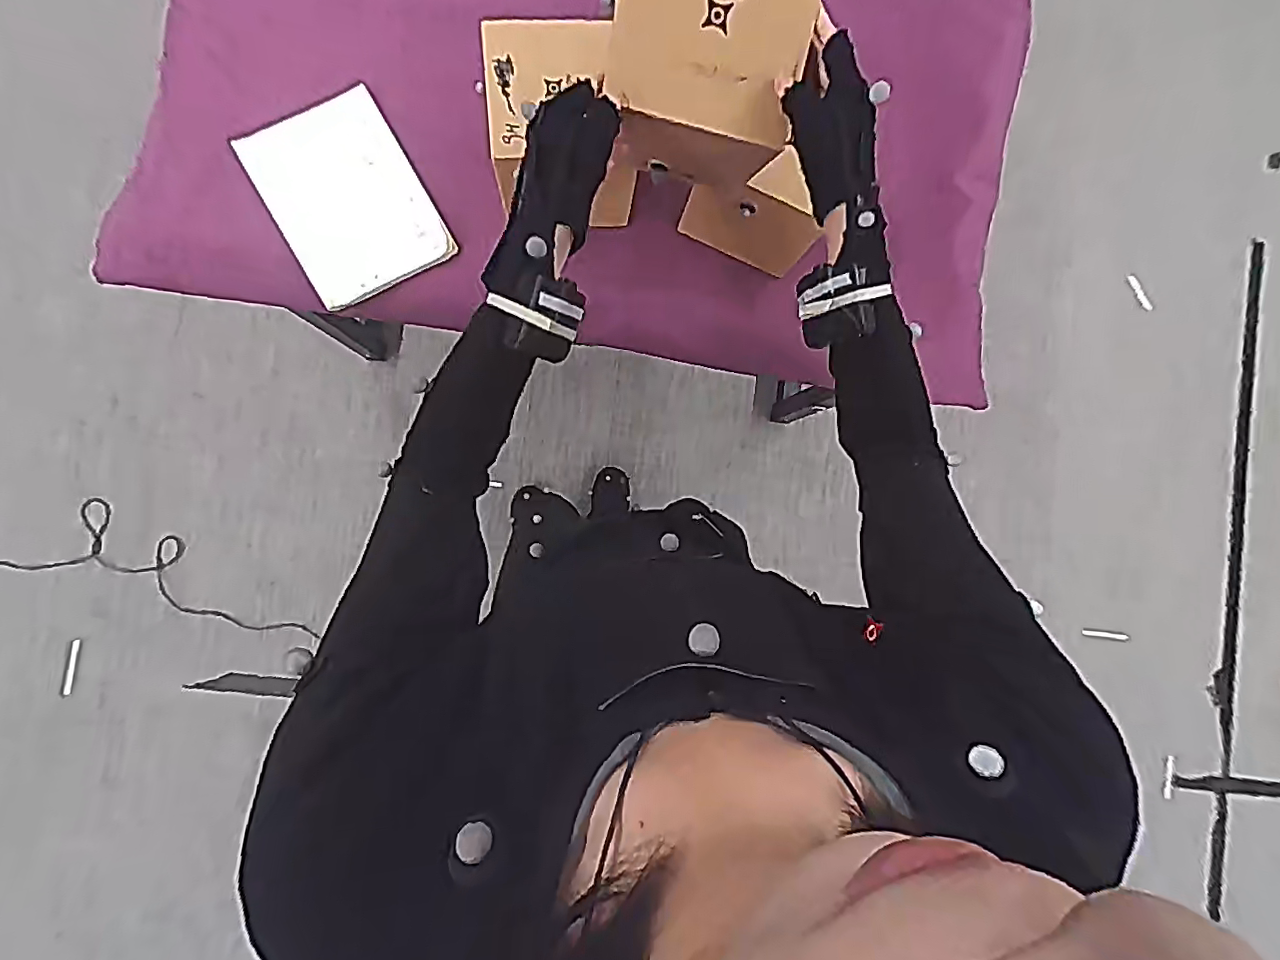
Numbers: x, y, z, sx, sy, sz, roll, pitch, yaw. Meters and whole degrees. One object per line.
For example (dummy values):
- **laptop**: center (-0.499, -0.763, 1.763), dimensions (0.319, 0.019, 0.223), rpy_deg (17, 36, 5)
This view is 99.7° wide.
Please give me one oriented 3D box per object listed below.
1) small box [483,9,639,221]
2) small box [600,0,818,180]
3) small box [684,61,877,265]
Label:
- **small box**: center (-0.101, -0.460, 0.708), dimensions (0.179, 0.176, 0.168), rpy_deg (-5, 88, -7)
- **small box**: center (0.056, -0.414, 0.508), dimensions (0.168, 0.176, 0.179), rpy_deg (10, 104, -7)
- **small box**: center (0.176, -0.424, 0.734), dimensions (0.179, 0.176, 0.168), rpy_deg (23, 85, -5)
